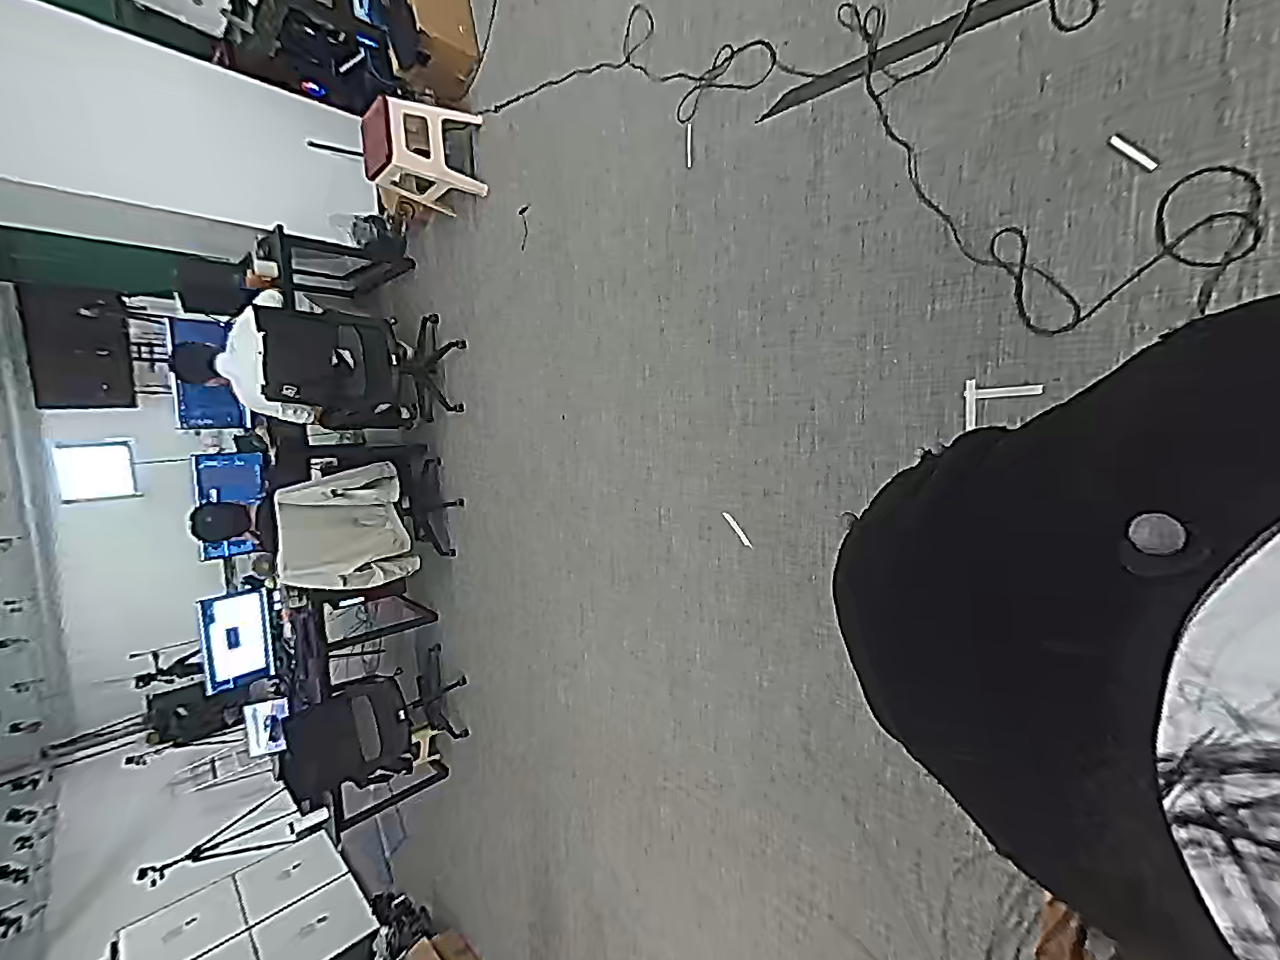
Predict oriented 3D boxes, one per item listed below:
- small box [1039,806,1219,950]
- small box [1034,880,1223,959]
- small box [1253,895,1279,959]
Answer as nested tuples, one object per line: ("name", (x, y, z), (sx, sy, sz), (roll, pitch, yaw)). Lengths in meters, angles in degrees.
("small box", (0.689, 0.616, 0.765), (0.168, 0.176, 0.179), (9, 100, 46))
("small box", (0.581, 0.643, 0.643), (0.168, 0.176, 0.179), (5, 99, 46))
("small box", (0.836, 0.639, 0.617), (0.168, 0.176, 0.179), (9, 100, 43))
